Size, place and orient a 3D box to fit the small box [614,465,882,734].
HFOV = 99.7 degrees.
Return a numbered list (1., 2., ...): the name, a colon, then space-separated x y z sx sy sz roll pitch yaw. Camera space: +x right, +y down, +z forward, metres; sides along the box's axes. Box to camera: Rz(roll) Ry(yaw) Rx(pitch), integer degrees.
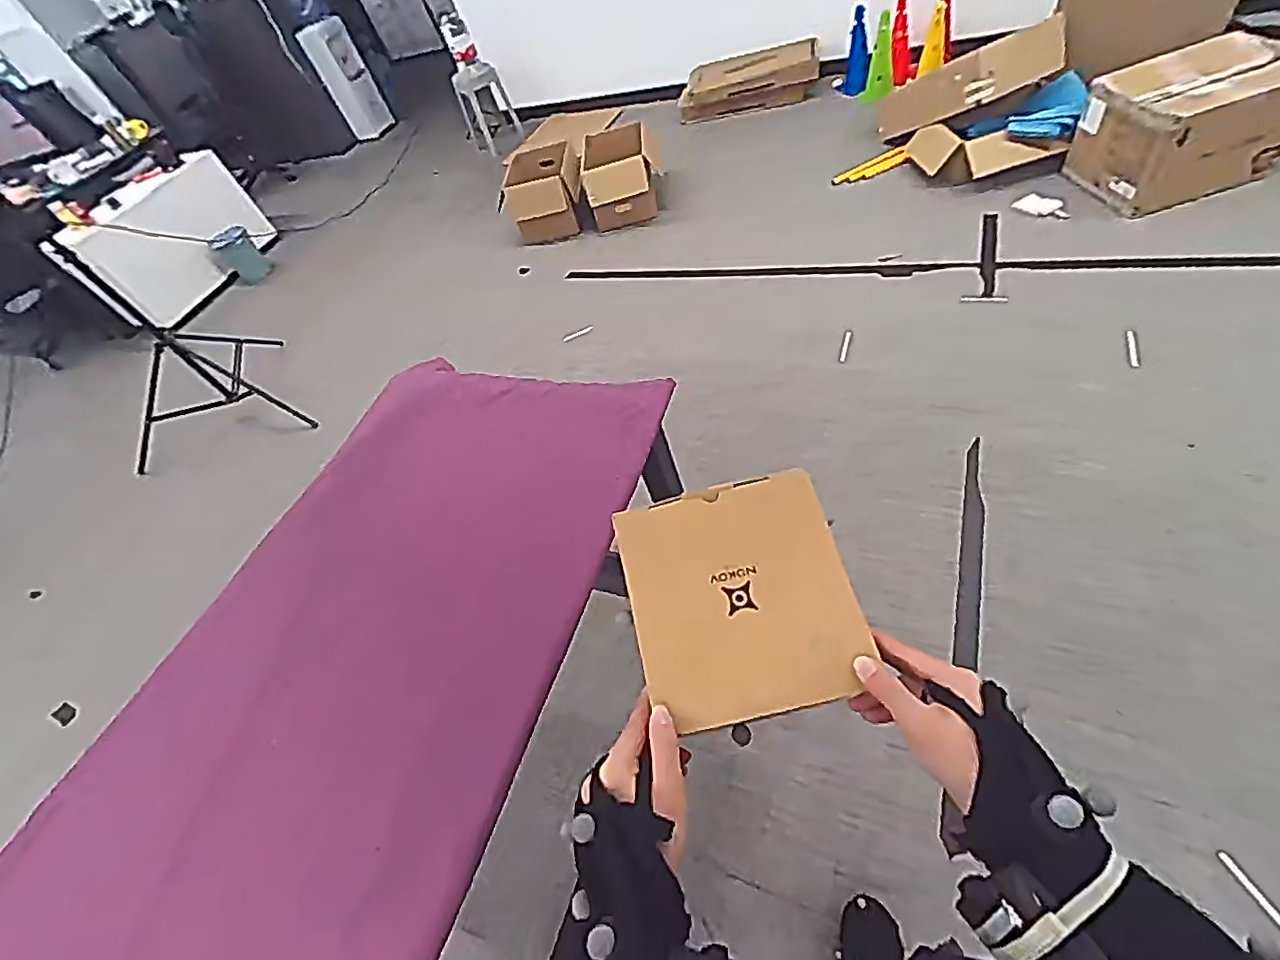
1. small box: 0.084 0.115 0.480 0.168 0.176 0.179 -14 62 2
